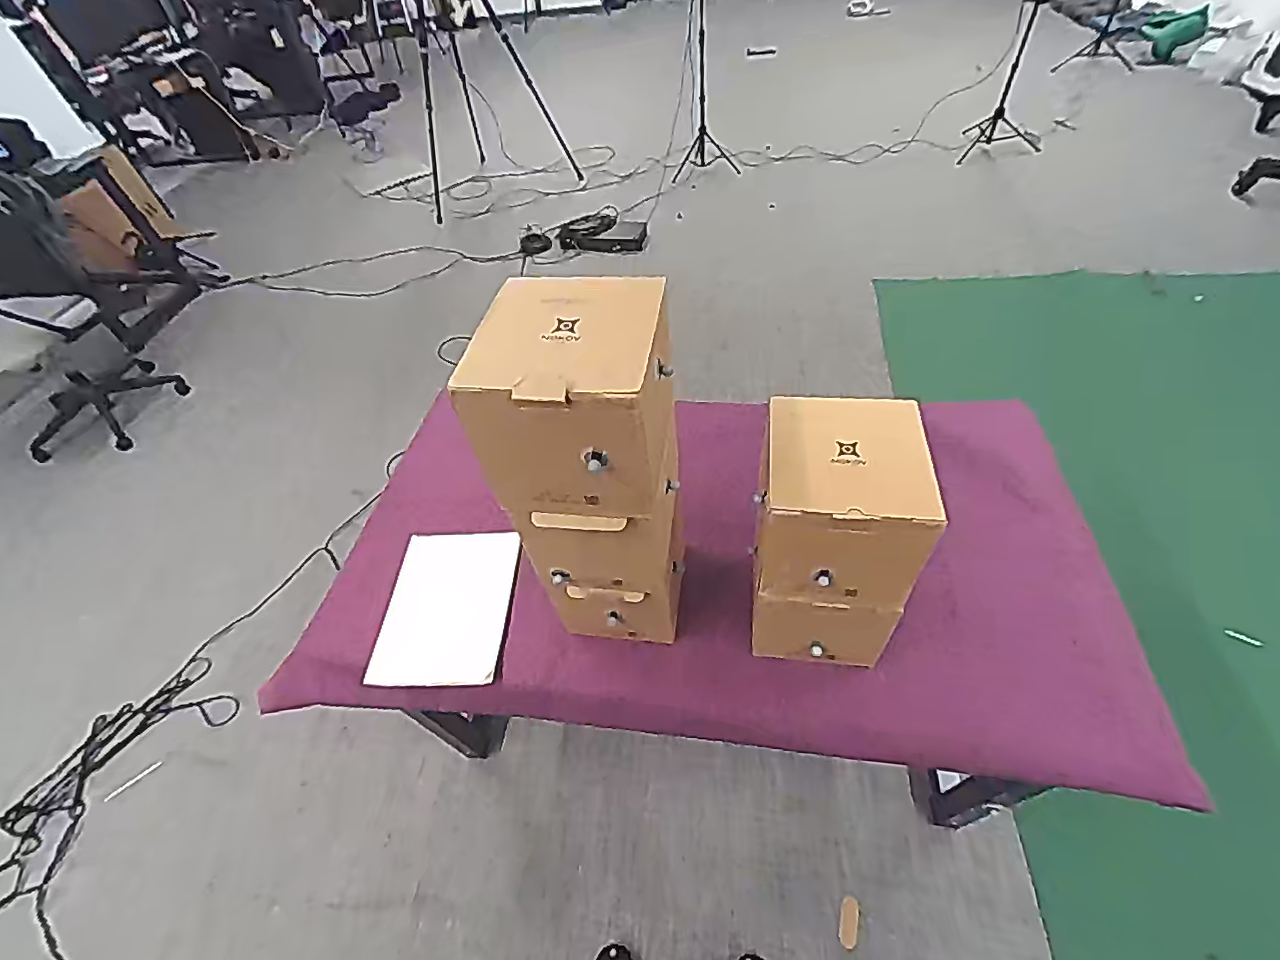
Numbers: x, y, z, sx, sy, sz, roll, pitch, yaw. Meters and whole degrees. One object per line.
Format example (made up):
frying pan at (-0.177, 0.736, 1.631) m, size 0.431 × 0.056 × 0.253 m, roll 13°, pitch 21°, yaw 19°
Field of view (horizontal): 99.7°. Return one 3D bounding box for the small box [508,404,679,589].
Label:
small box at (-0.042, 0.019, 0.679) m, size 0.168 × 0.176 × 0.179 m, roll 3°, pitch 50°, yaw 10°

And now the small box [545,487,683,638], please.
small box at (-0.026, 0.120, 0.809) m, size 0.168 × 0.176 × 0.179 m, roll 3°, pitch 51°, yaw 9°

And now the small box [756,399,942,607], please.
small box at (0.228, 0.026, 0.640) m, size 0.168 × 0.176 × 0.179 m, roll 3°, pitch 50°, yaw 10°

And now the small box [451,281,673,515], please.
small box at (-0.059, -0.082, 0.552) m, size 0.168 × 0.176 × 0.179 m, roll 5°, pitch 50°, yaw 10°
